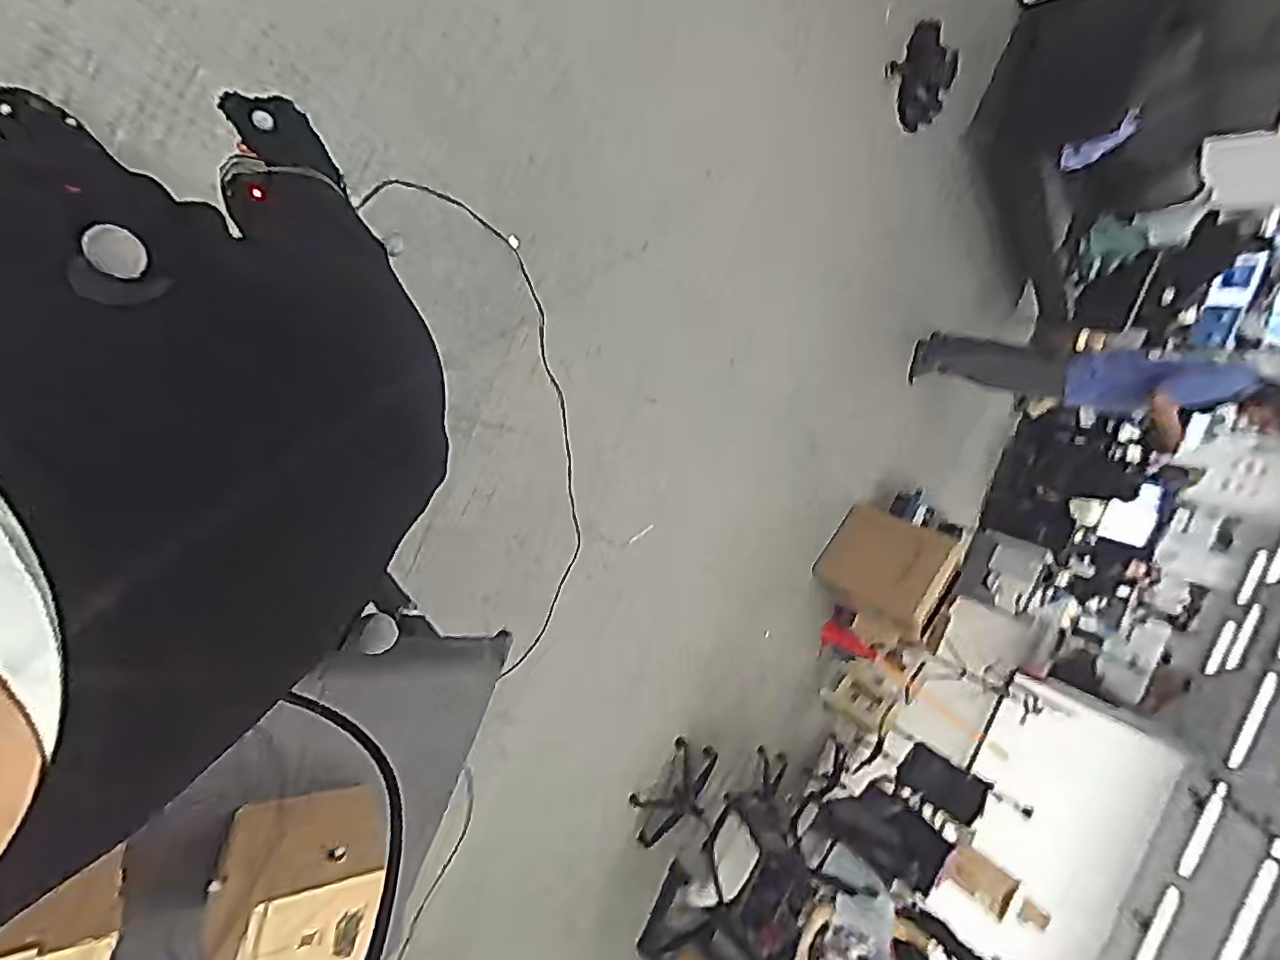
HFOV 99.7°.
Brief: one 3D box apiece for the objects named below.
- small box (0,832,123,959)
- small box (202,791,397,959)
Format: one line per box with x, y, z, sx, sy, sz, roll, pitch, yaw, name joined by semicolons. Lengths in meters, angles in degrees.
-0.669;0.497;0.551;0.168;0.176;0.179;21;92;-46;small box
-0.481;0.574;0.761;0.179;0.176;0.168;18;94;-45;small box
